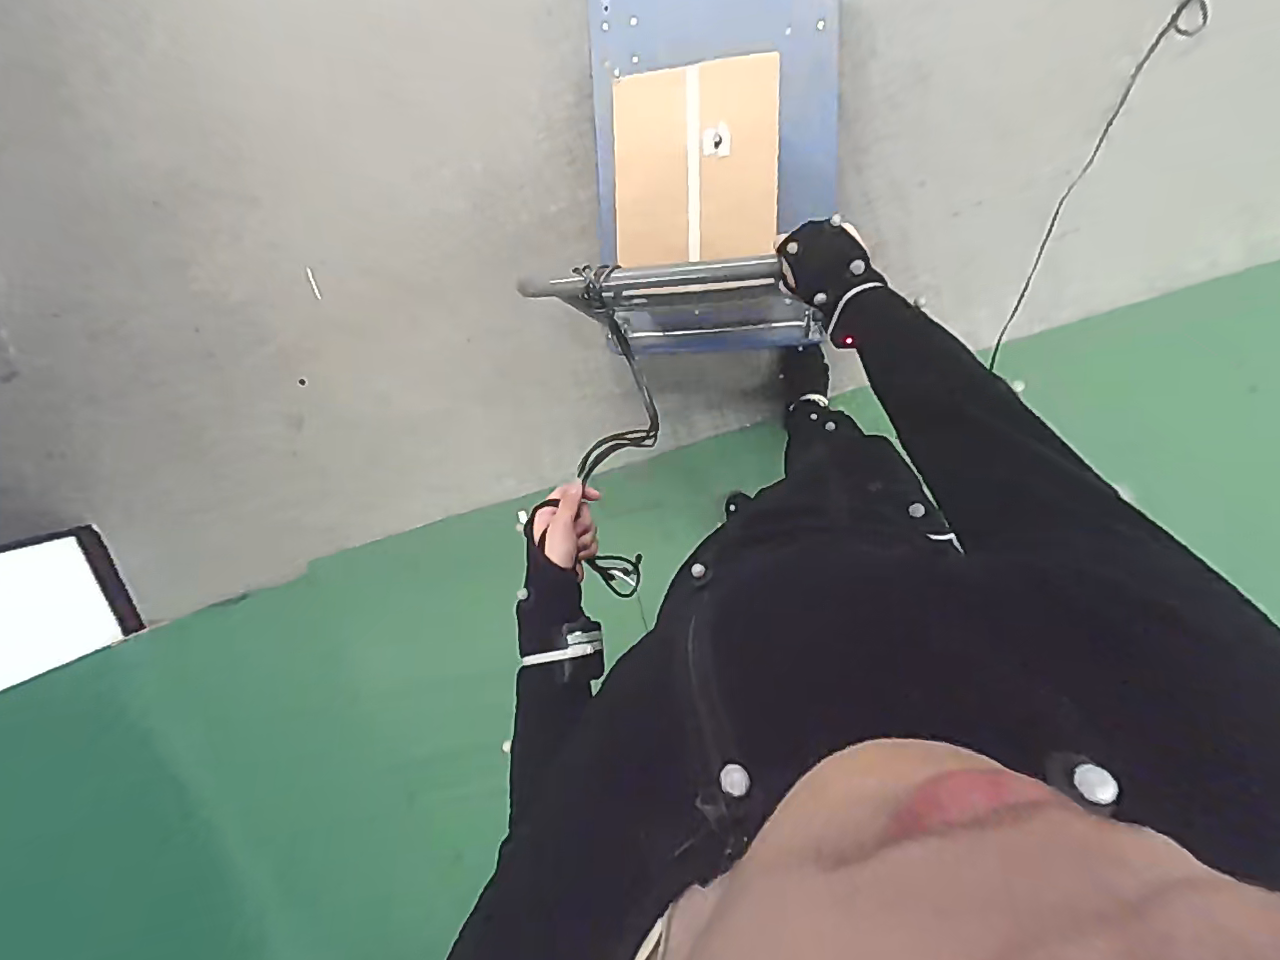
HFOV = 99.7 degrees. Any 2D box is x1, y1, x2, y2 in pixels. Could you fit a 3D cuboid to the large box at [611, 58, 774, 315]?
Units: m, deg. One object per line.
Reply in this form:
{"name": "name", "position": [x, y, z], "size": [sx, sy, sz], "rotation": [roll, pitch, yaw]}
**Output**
{"name": "large box", "position": [0.131, -0.597, 1.189], "size": [0.320, 0.320, 0.408], "rotation": [1, 99, 12]}
